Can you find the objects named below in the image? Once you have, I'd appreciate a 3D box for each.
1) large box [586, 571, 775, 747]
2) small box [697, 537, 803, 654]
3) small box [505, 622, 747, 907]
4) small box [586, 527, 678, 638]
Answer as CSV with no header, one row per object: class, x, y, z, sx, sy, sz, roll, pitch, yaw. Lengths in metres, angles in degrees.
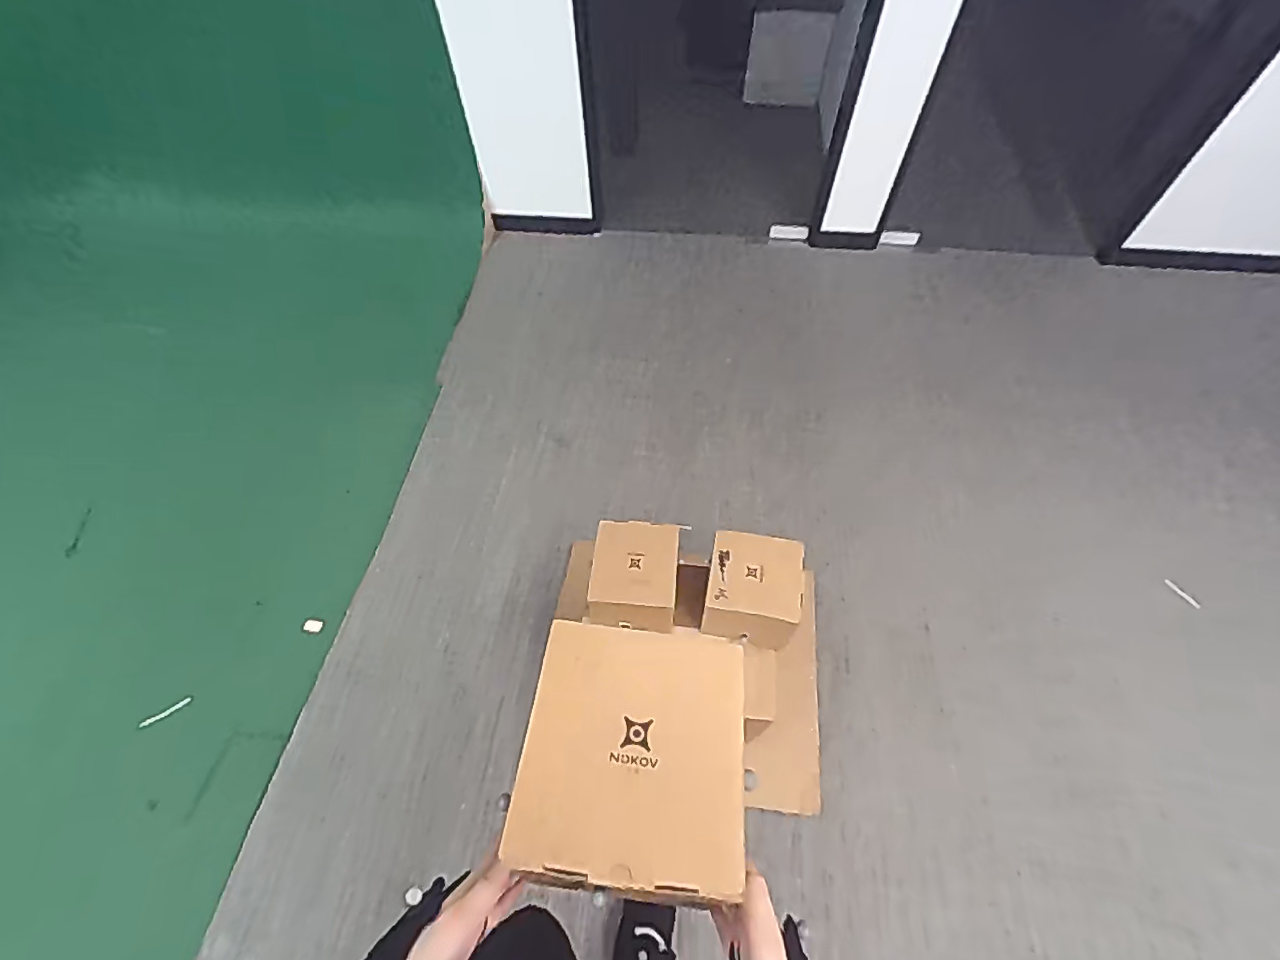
large box,0.076,0.418,1.263,0.408,0.320,0.320,6,57,3
small box,0.217,0.237,1.086,0.179,0.176,0.168,10,57,7
small box,-0.008,0.249,0.470,0.168,0.176,0.179,7,51,1
small box,-0.013,0.216,1.106,0.168,0.176,0.179,4,56,3
